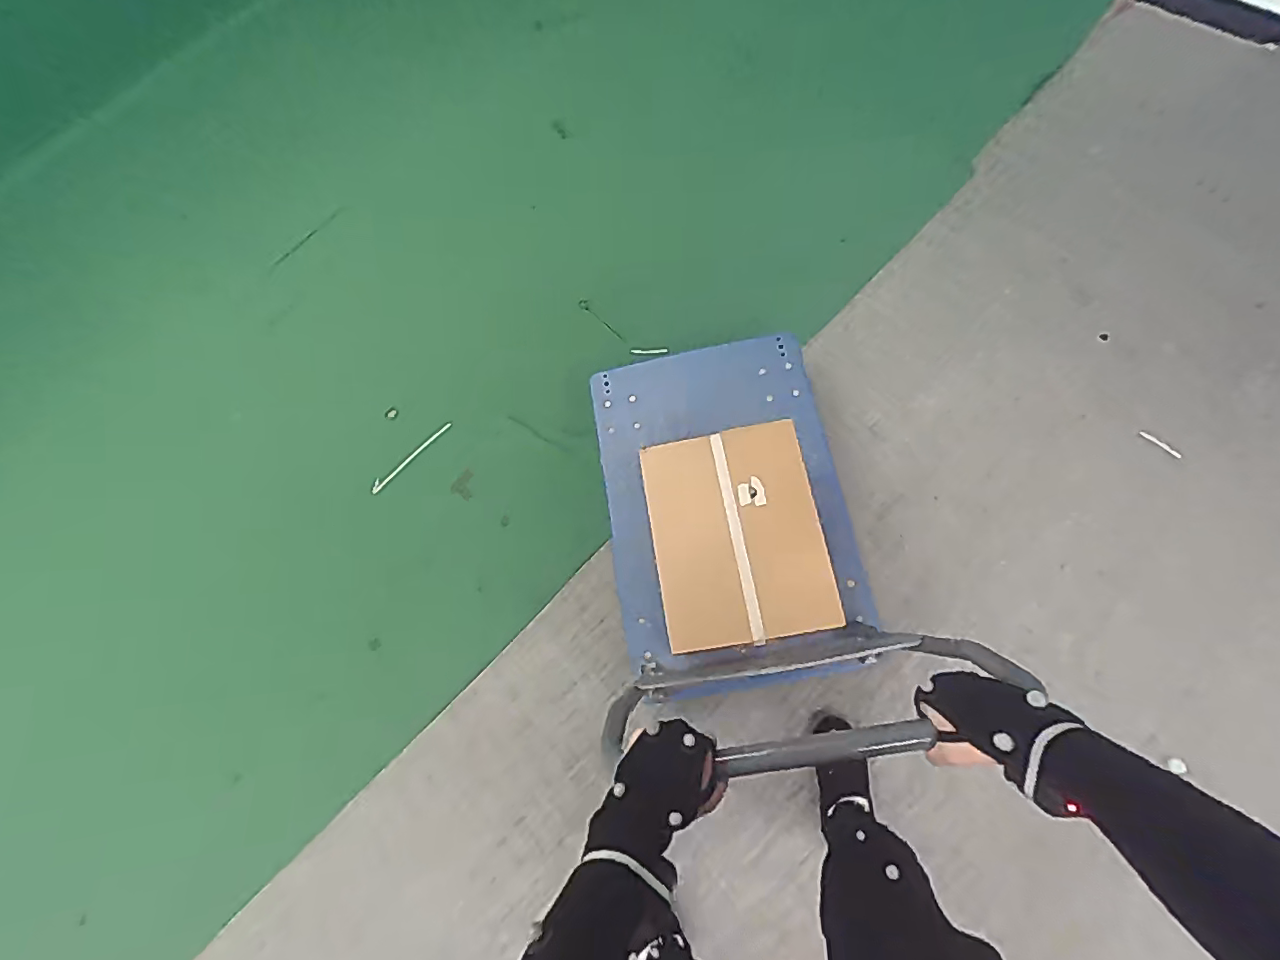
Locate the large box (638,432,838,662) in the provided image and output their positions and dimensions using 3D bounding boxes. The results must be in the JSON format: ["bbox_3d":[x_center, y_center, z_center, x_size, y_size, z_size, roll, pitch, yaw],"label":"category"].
[{"bbox_3d":[0.198,0.162,1.175,0.320,0.320,0.408,-10,70,5],"label":"large box"}]
